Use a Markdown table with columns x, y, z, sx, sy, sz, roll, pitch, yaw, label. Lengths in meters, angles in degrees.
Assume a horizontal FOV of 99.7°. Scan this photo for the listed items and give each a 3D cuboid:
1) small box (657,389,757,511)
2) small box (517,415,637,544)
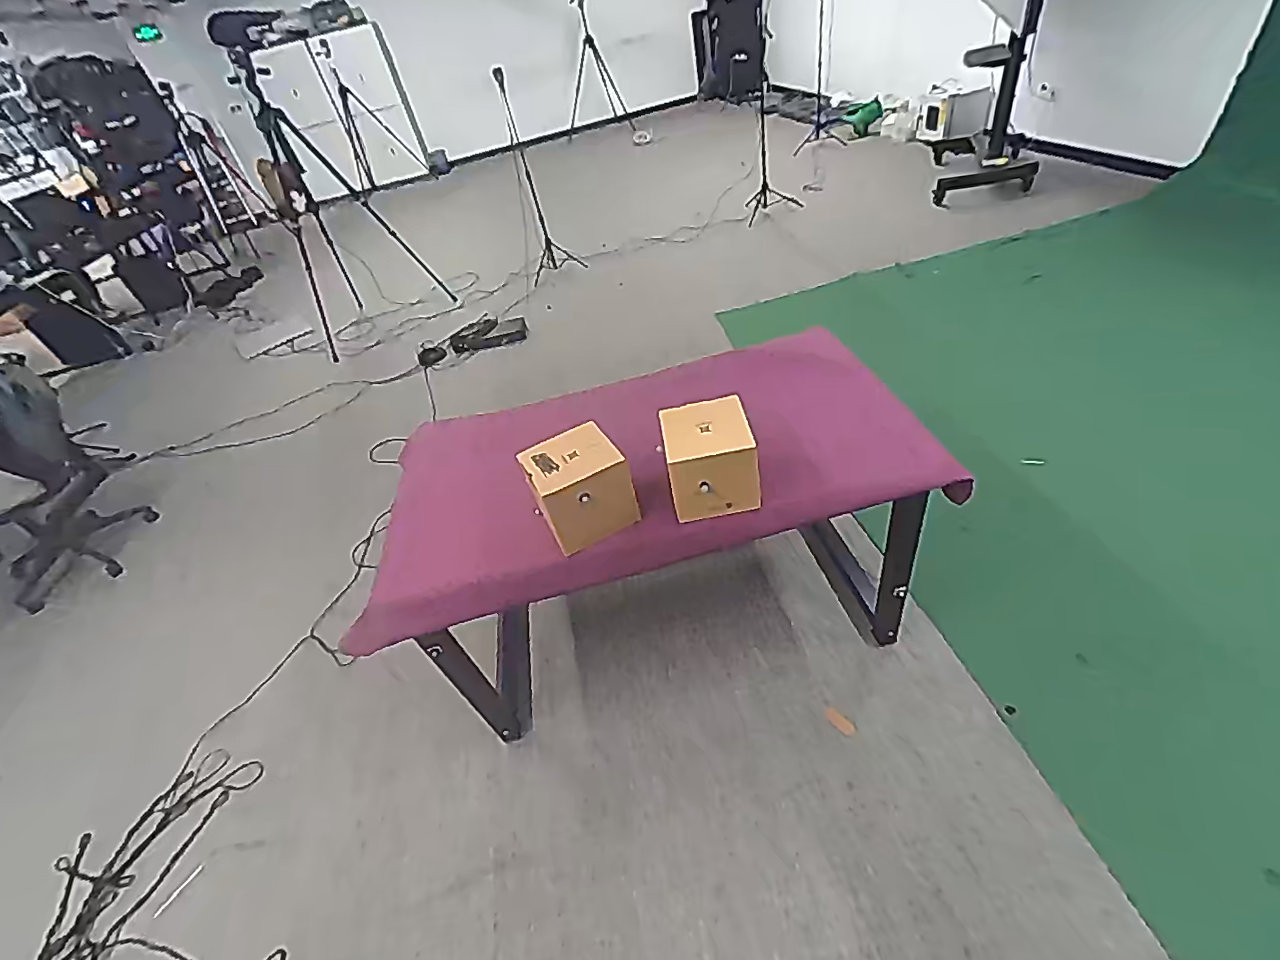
| x | y | z | sx | sy | sz | roll | pitch | yaw | label |
| --- | --- | --- | --- | --- | --- | --- | --- | --- | --- |
| 0.136 | -0.054 | 1.096 | 0.168 | 0.176 | 0.179 | -11 | 41 | 4 | small box |
| -0.126 | 0.000 | 1.106 | 0.179 | 0.176 | 0.168 | -25 | 42 | -13 | small box |
